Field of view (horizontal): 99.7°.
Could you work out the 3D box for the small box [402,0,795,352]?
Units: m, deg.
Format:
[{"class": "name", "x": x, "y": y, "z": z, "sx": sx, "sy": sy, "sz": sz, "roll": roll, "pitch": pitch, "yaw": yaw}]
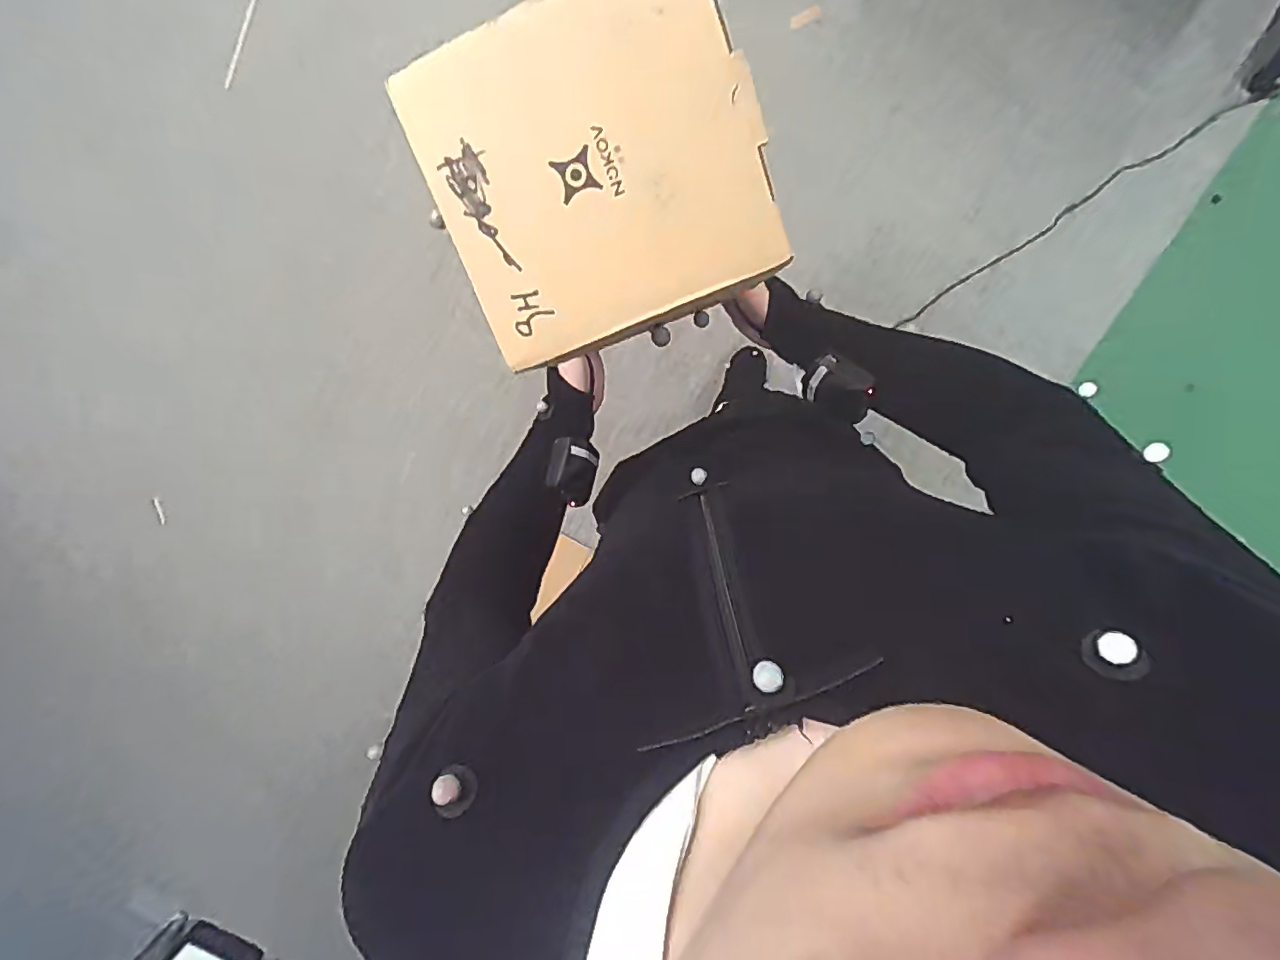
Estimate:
[{"class": "small box", "x": -0.016, "y": -0.198, "z": 0.370, "sx": 0.179, "sy": 0.176, "sz": 0.168, "roll": -18, "pitch": 103, "yaw": 9}]
